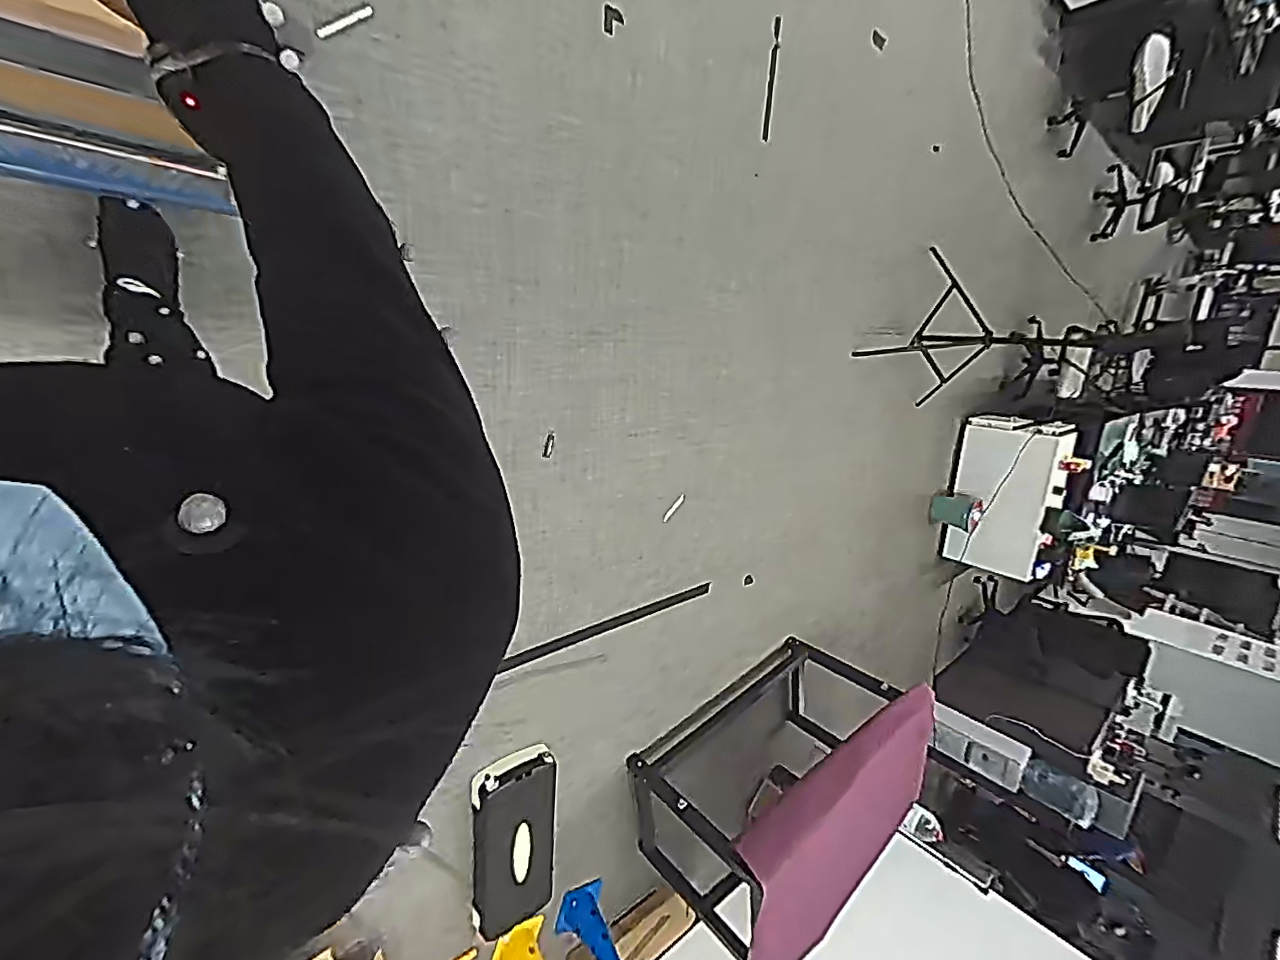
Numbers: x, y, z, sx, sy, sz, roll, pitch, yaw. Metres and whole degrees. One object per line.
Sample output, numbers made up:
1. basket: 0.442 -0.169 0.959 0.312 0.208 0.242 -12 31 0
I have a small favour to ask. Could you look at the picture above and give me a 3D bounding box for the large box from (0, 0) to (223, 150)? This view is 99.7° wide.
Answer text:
1. large box: -0.795 -0.672 0.671 0.408 0.320 0.320 -5 105 -41
